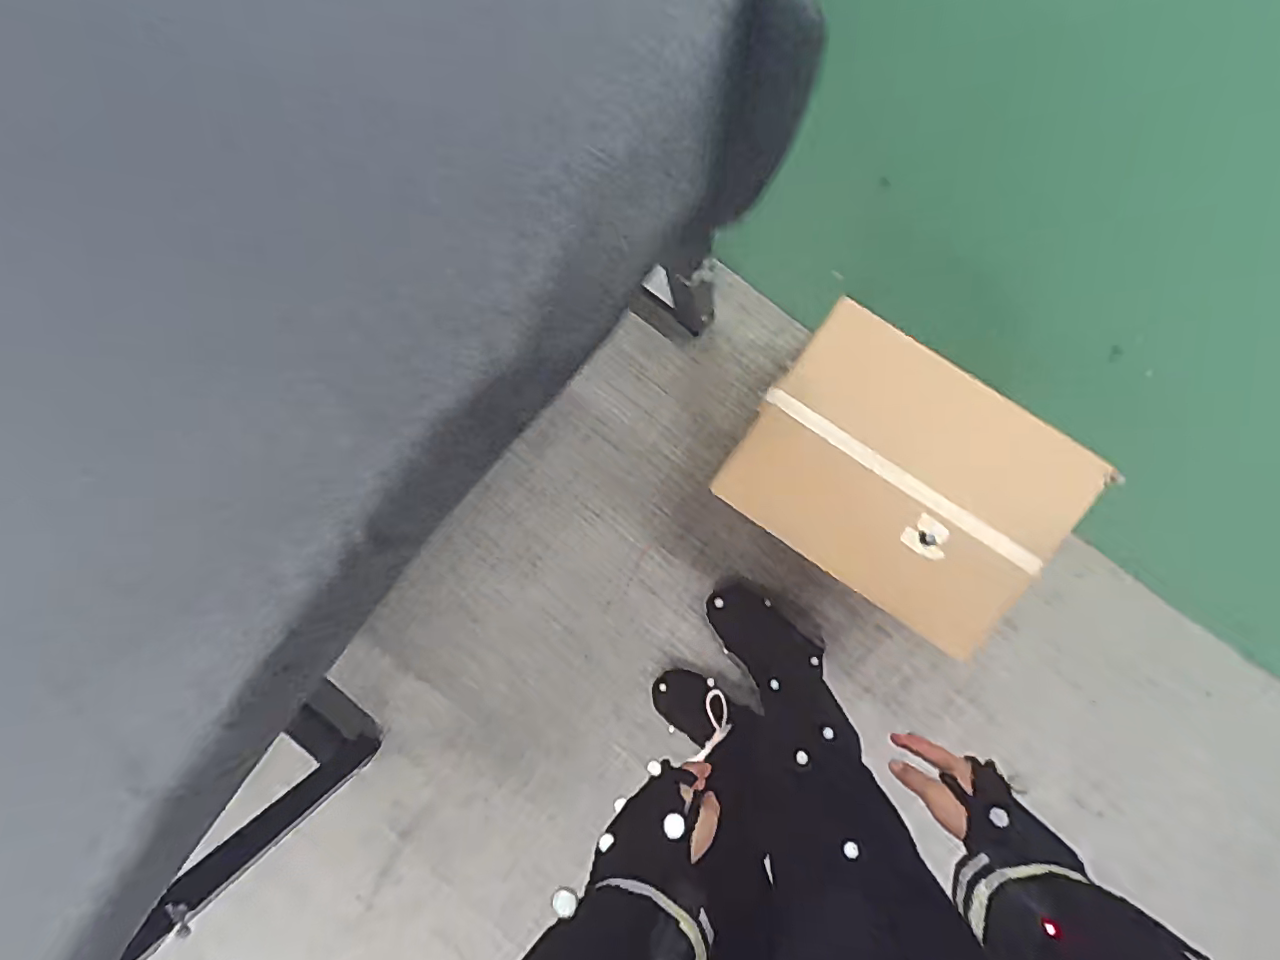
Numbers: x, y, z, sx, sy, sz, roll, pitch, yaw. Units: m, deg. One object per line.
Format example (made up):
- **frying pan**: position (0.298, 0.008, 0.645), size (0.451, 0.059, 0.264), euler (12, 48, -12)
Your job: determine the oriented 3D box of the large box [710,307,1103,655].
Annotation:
- **large box**: position (0.361, -0.004, 0.864), size (0.408, 0.320, 0.320), euler (35, 96, 5)
